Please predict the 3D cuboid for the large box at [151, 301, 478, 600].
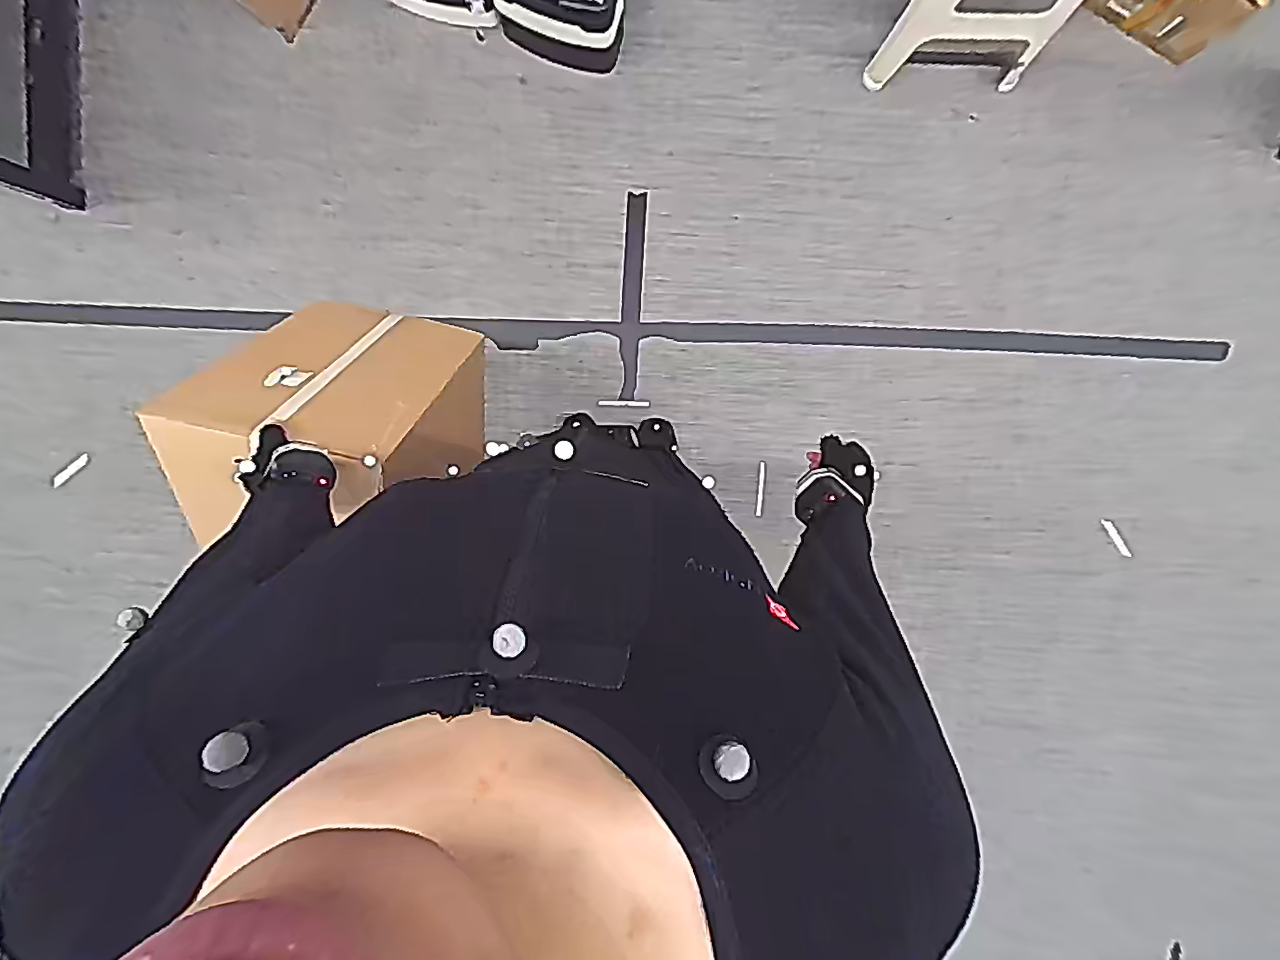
[{"bbox_3d":[-0.496,-0.063,0.951,0.320,0.408,0.320,12,130,-1],"label":"large box"}]
